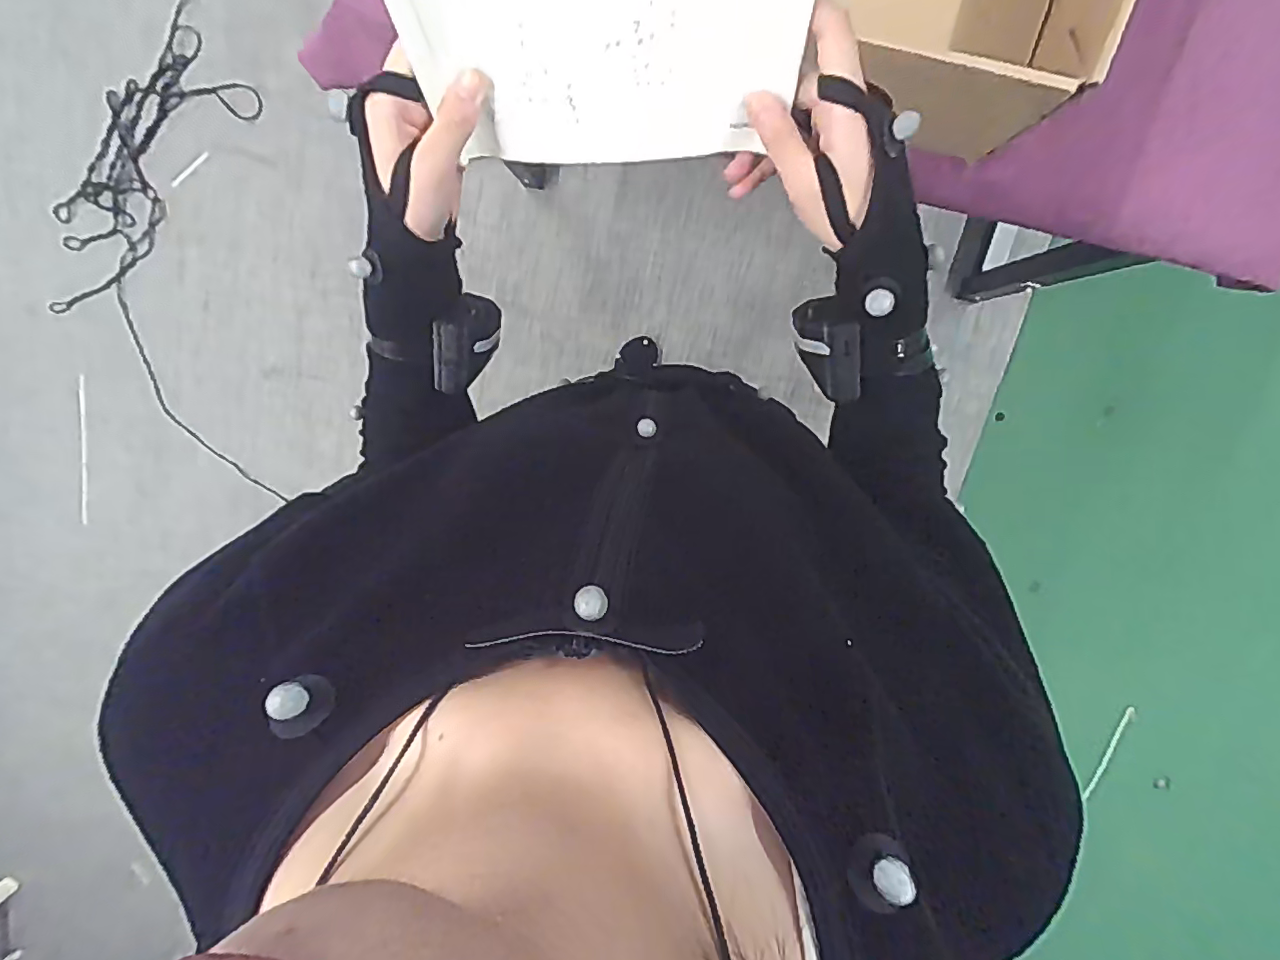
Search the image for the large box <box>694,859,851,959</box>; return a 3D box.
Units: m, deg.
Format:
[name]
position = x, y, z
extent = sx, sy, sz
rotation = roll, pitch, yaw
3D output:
[large box]
position = 0.368, 1.380, 1.594
extent = 0.408, 0.320, 0.320
rotation = -1, 102, 4
